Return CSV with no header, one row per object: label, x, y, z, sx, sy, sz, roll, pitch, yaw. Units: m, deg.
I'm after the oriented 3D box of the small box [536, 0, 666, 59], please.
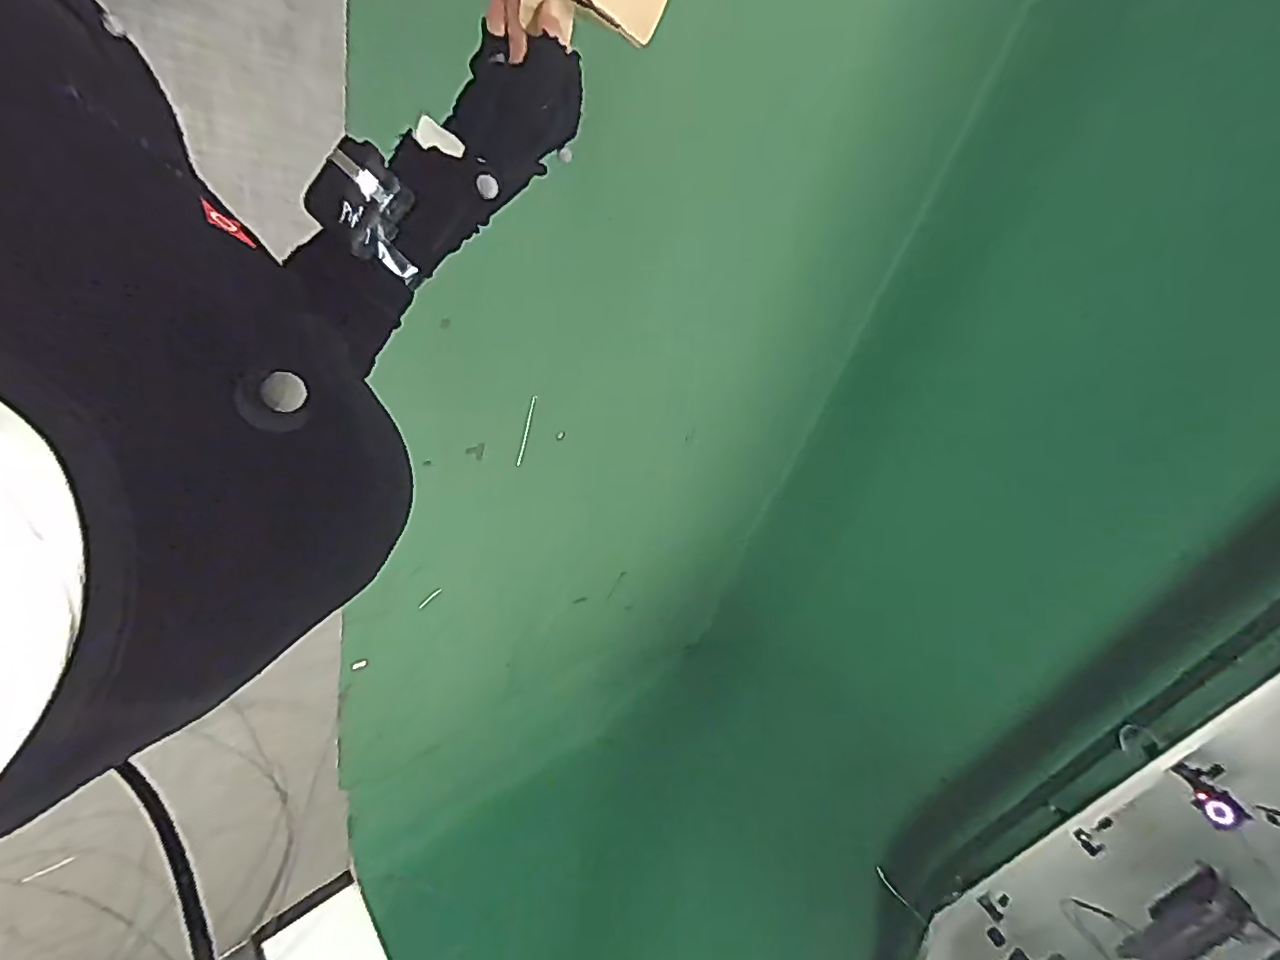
small box,-0.060,-0.442,0.359,0.168,0.176,0.179,-10,140,-51
